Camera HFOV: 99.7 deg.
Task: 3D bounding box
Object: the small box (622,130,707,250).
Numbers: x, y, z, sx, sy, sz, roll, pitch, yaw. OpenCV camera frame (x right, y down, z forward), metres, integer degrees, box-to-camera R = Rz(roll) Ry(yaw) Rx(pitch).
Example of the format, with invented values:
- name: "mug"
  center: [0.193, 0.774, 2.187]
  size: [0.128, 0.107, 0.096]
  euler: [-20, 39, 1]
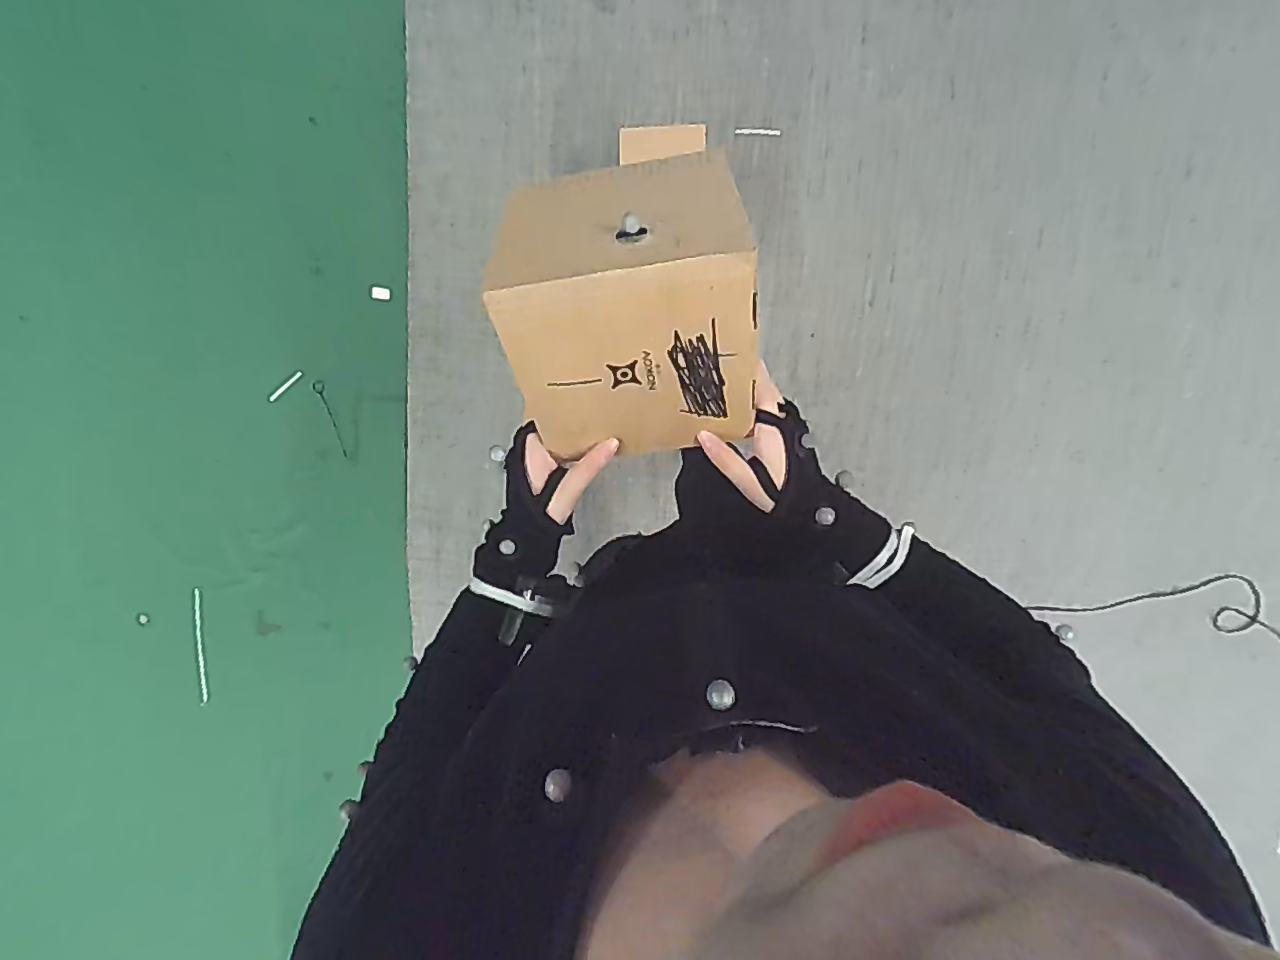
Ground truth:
- name: "small box"
  center: [0.051, -0.593, 1.124]
  size: [0.168, 0.176, 0.179]
  euler: [0, 100, 4]
